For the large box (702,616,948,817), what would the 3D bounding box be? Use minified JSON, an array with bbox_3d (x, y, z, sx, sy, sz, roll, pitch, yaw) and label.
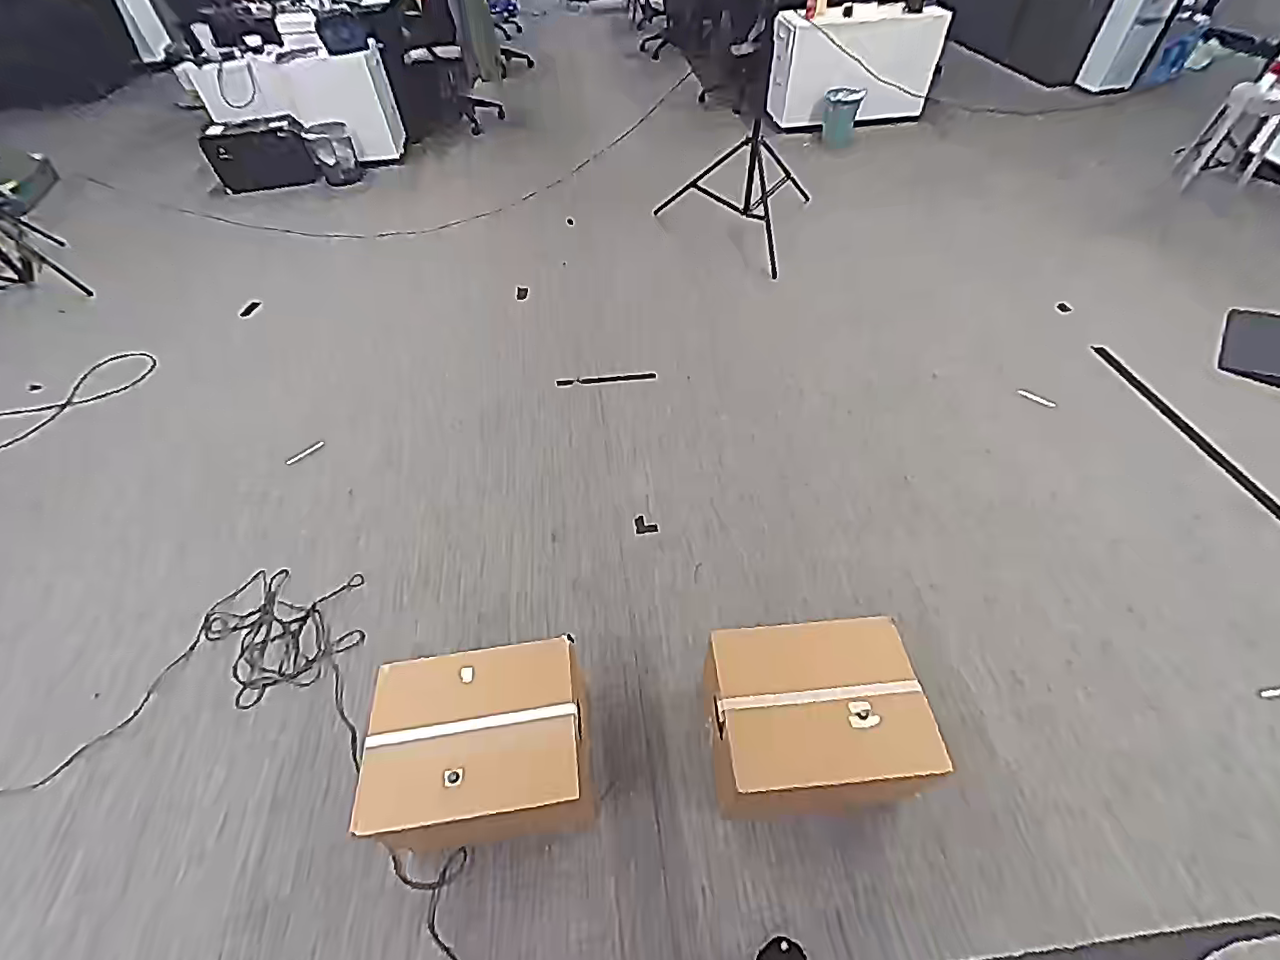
[{"bbox_3d":[0.368,0.530,1.205,0.408,0.320,0.320,-4,51,-2],"label":"large box"}]
